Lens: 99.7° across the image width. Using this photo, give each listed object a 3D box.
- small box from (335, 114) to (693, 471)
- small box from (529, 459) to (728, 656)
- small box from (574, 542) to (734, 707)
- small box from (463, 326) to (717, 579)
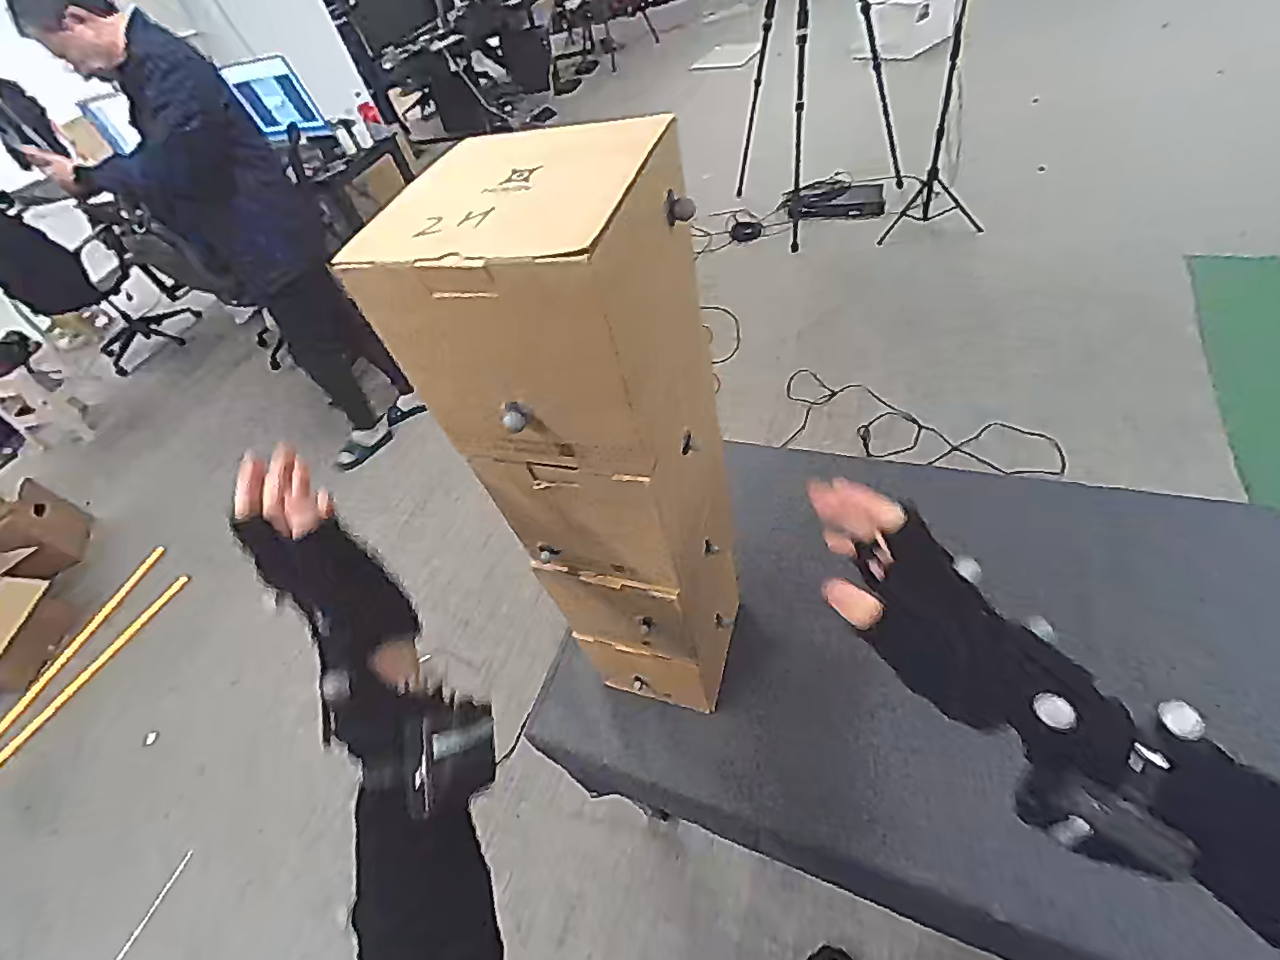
[{"bbox_3d":[-0.062,-0.132,0.392,0.168,0.176,0.179,6,53,19],"label":"small box"},{"bbox_3d":[0.003,0.082,0.633,0.168,0.176,0.179,9,54,21],"label":"small box"},{"bbox_3d":[0.033,0.187,0.754,0.168,0.176,0.179,7,53,21],"label":"small box"},{"bbox_3d":[-0.027,-0.027,0.515,0.168,0.176,0.179,8,53,19],"label":"small box"}]
